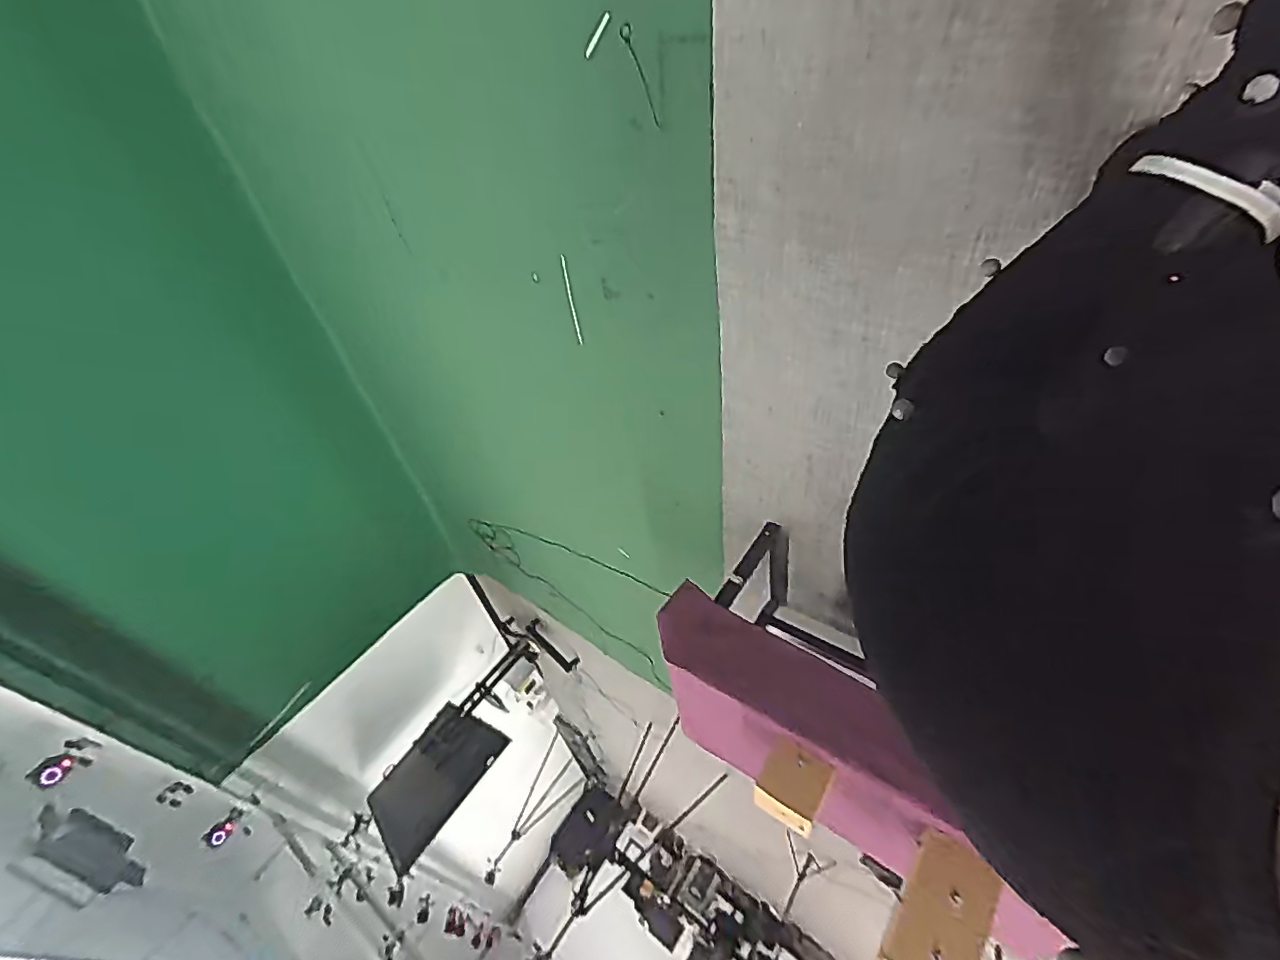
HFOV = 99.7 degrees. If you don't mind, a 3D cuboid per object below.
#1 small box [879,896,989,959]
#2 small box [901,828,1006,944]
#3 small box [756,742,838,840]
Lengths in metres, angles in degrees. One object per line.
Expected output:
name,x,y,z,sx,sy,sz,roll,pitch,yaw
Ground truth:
small box,0.695,1.132,1.287,0.179,0.176,0.168,22,142,29
small box,0.795,1.031,1.371,0.179,0.176,0.168,24,142,29
small box,0.459,0.905,1.591,0.179,0.176,0.168,23,143,30
